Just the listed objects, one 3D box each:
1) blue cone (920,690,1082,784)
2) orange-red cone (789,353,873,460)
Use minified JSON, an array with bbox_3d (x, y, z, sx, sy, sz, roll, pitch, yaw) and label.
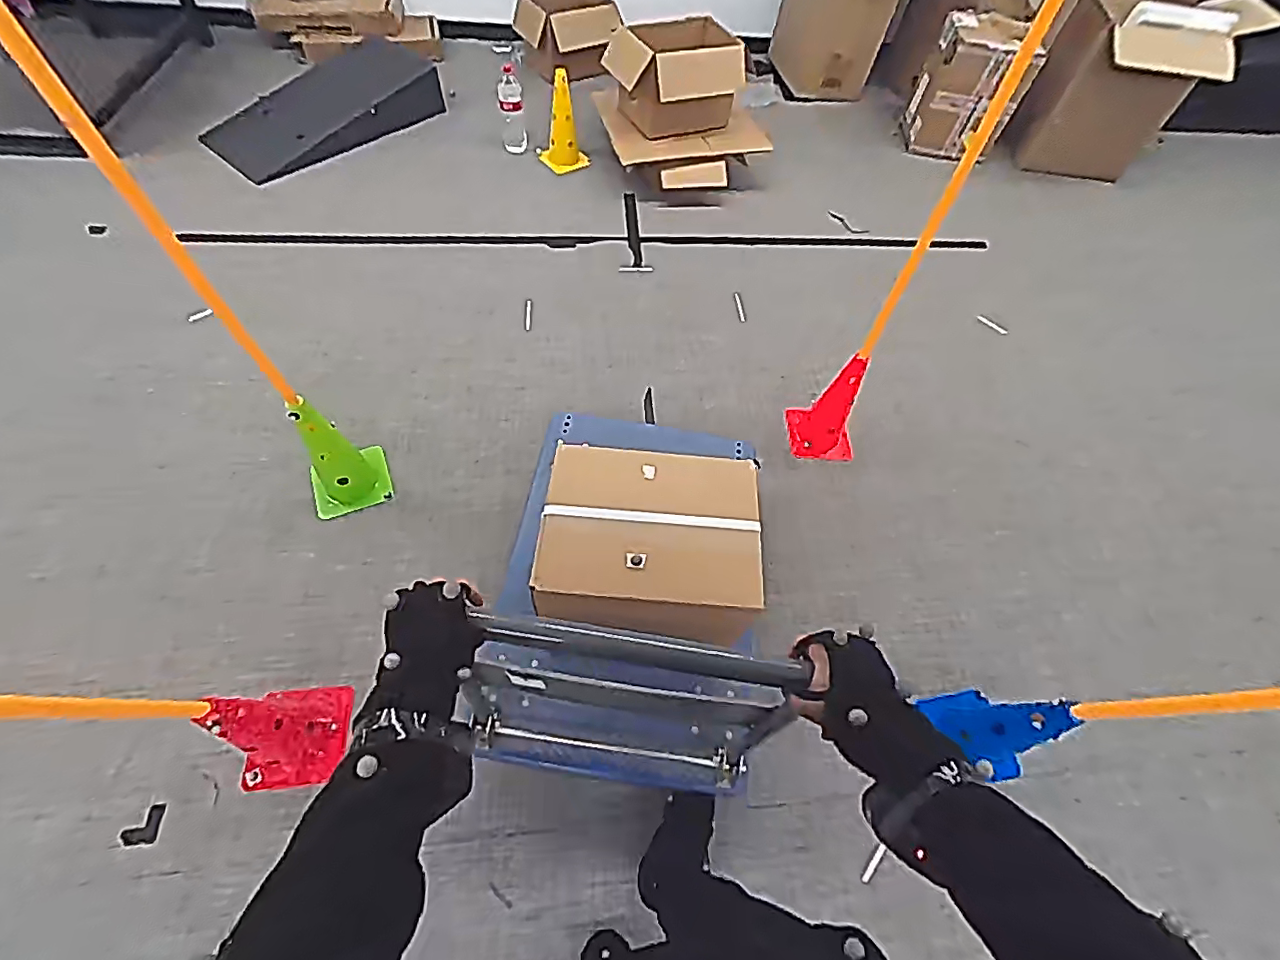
[{"bbox_3d":[0.801,0.526,1.163,0.193,0.380,0.192,-5,57,-9],"label":"blue cone"},{"bbox_3d":[0.603,-0.241,1.613,0.199,0.360,0.198,4,58,-3],"label":"orange-red cone"}]
